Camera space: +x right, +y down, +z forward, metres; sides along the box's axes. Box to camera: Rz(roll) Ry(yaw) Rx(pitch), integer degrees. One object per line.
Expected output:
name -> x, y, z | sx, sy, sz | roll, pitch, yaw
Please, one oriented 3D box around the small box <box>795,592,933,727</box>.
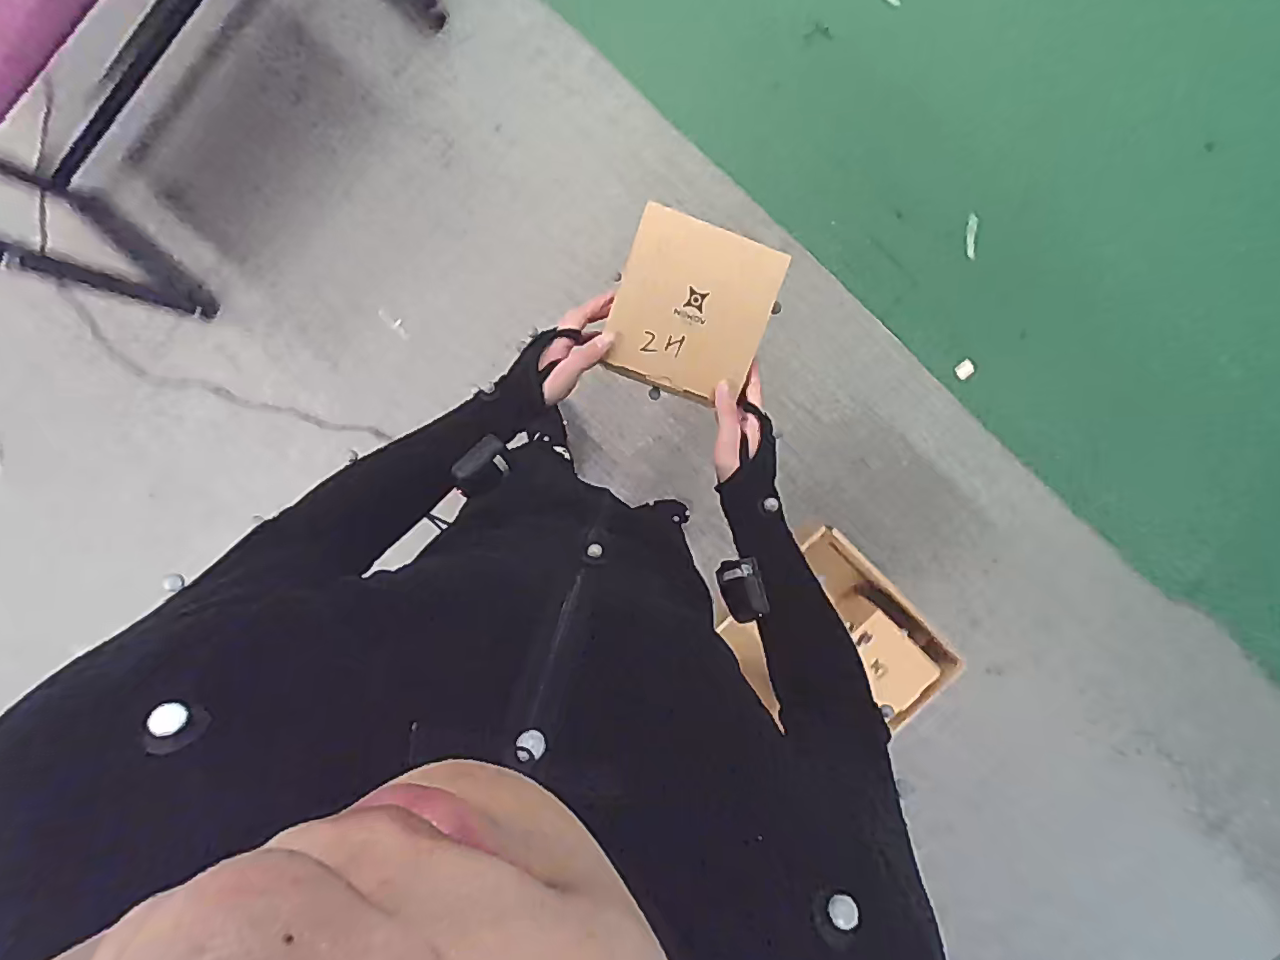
small box -> 0.455, 0.362, 1.127 | 0.168, 0.176, 0.179 | -43, 90, 5
